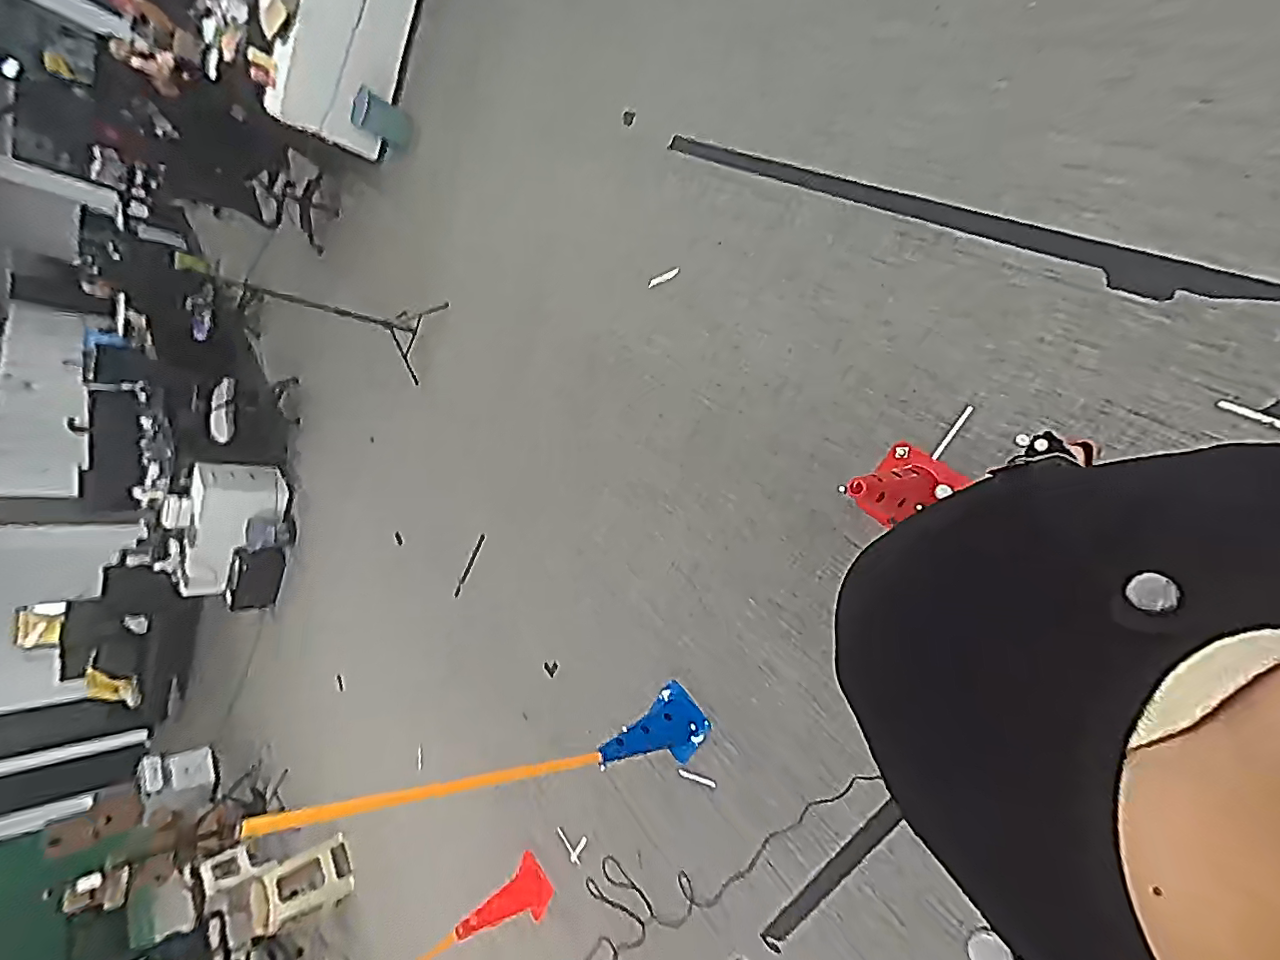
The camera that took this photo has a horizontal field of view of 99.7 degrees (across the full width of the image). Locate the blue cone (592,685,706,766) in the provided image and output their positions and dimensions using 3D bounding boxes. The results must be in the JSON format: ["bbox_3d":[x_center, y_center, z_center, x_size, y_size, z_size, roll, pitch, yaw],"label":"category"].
[{"bbox_3d":[0.009,0.779,1.639,0.193,0.380,0.192,46,117,34],"label":"blue cone"}]

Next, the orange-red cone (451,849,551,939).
[{"bbox_3d":[-0.553,1.634,2.071,0.199,0.360,0.198,36,111,36],"label":"orange-red cone"}]
